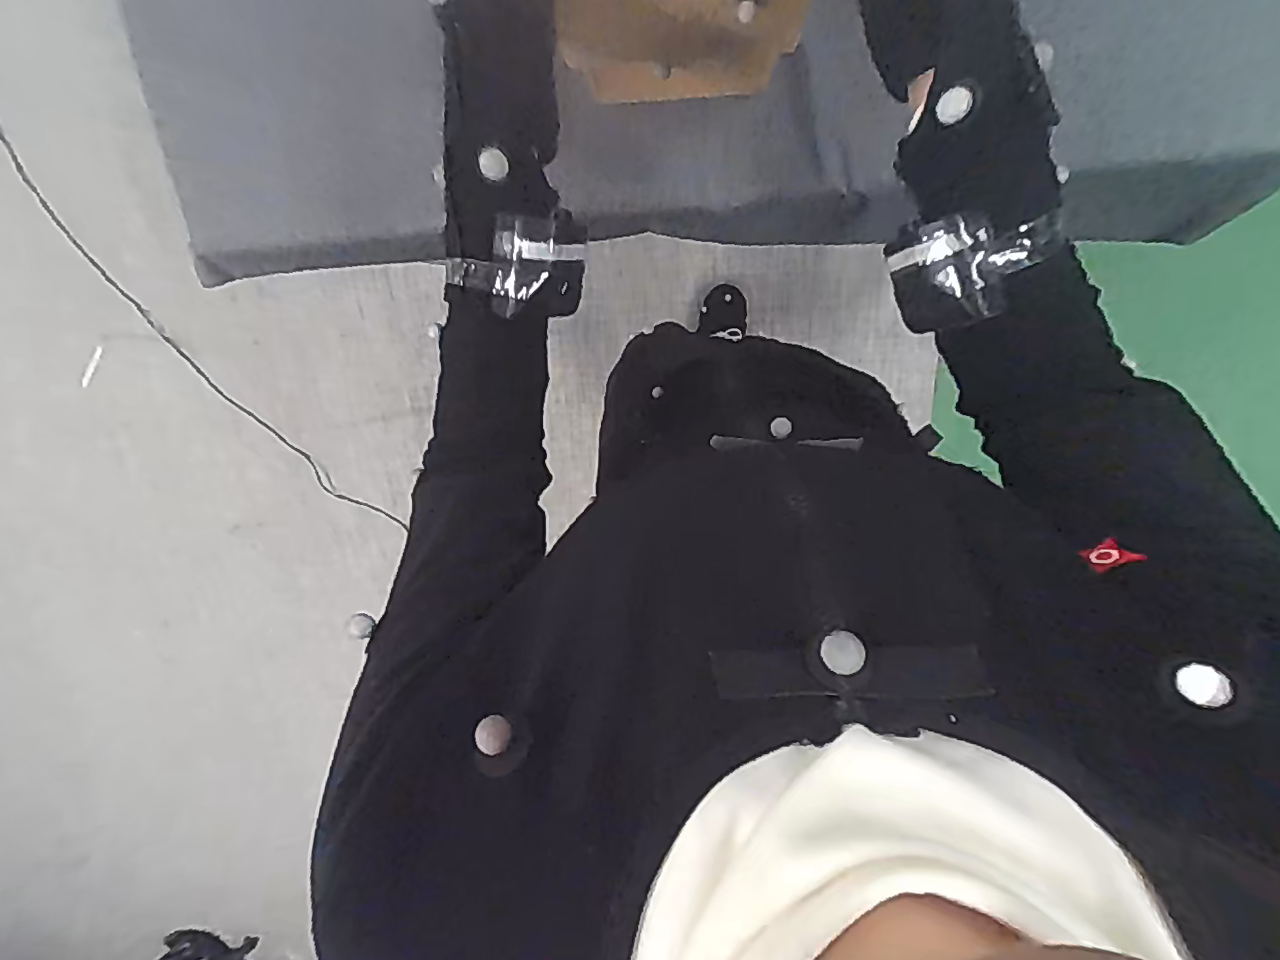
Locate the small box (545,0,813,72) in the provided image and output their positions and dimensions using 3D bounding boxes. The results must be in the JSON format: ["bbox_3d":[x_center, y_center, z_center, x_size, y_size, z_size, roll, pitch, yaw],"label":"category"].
[{"bbox_3d":[0.023,-0.369,0.307,0.179,0.176,0.168,-5,107,6],"label":"small box"}]

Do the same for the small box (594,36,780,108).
[{"bbox_3d":[0.035,-0.452,0.470,0.179,0.176,0.168,-4,106,5],"label":"small box"}]
